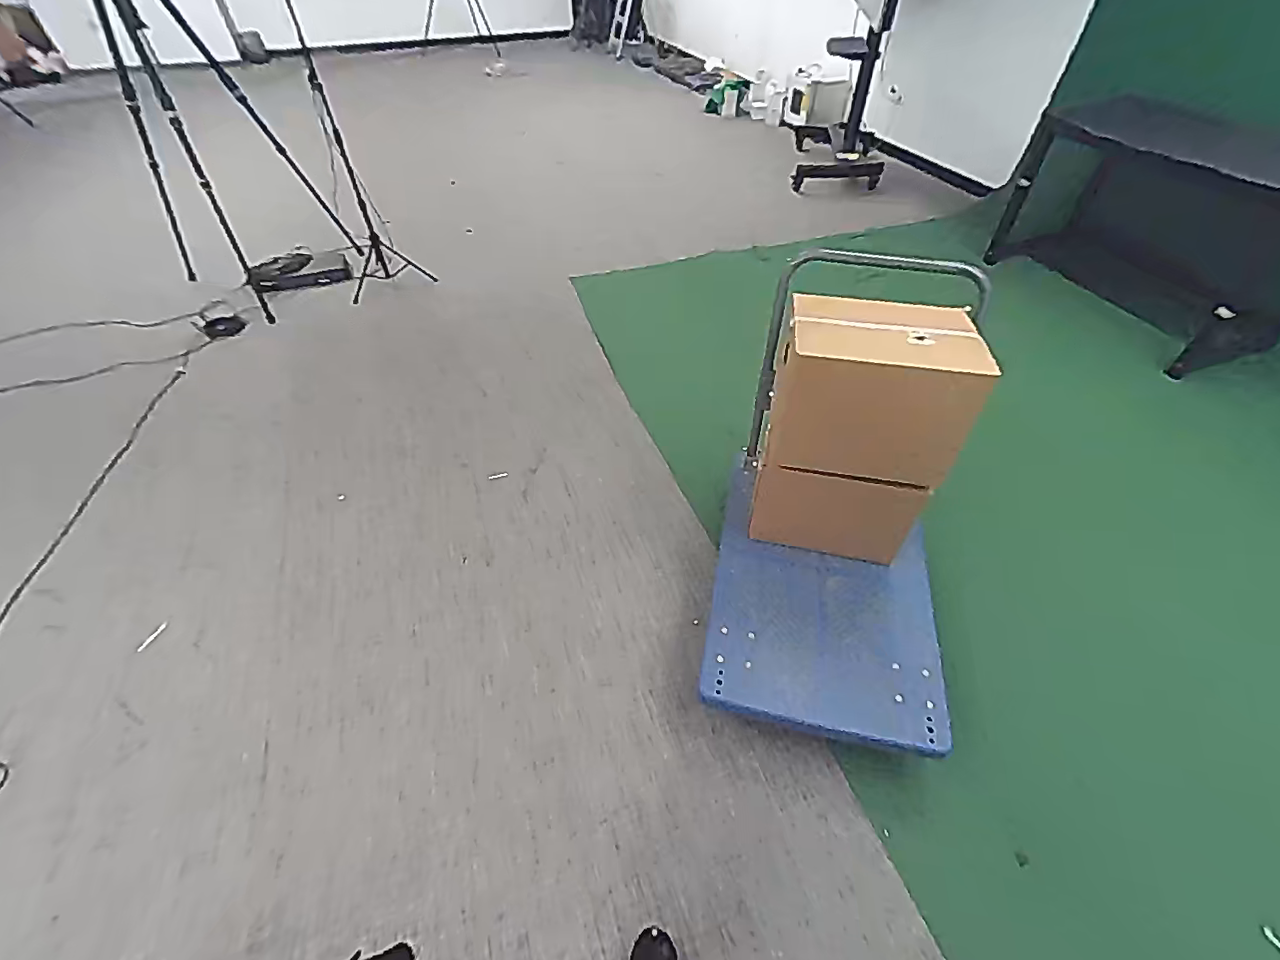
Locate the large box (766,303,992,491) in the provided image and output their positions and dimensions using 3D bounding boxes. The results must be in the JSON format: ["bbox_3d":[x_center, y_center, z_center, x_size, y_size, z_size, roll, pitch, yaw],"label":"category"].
[{"bbox_3d":[0.533,-0.205,1.313,0.408,0.320,0.320,9,42,7],"label":"large box"}]
